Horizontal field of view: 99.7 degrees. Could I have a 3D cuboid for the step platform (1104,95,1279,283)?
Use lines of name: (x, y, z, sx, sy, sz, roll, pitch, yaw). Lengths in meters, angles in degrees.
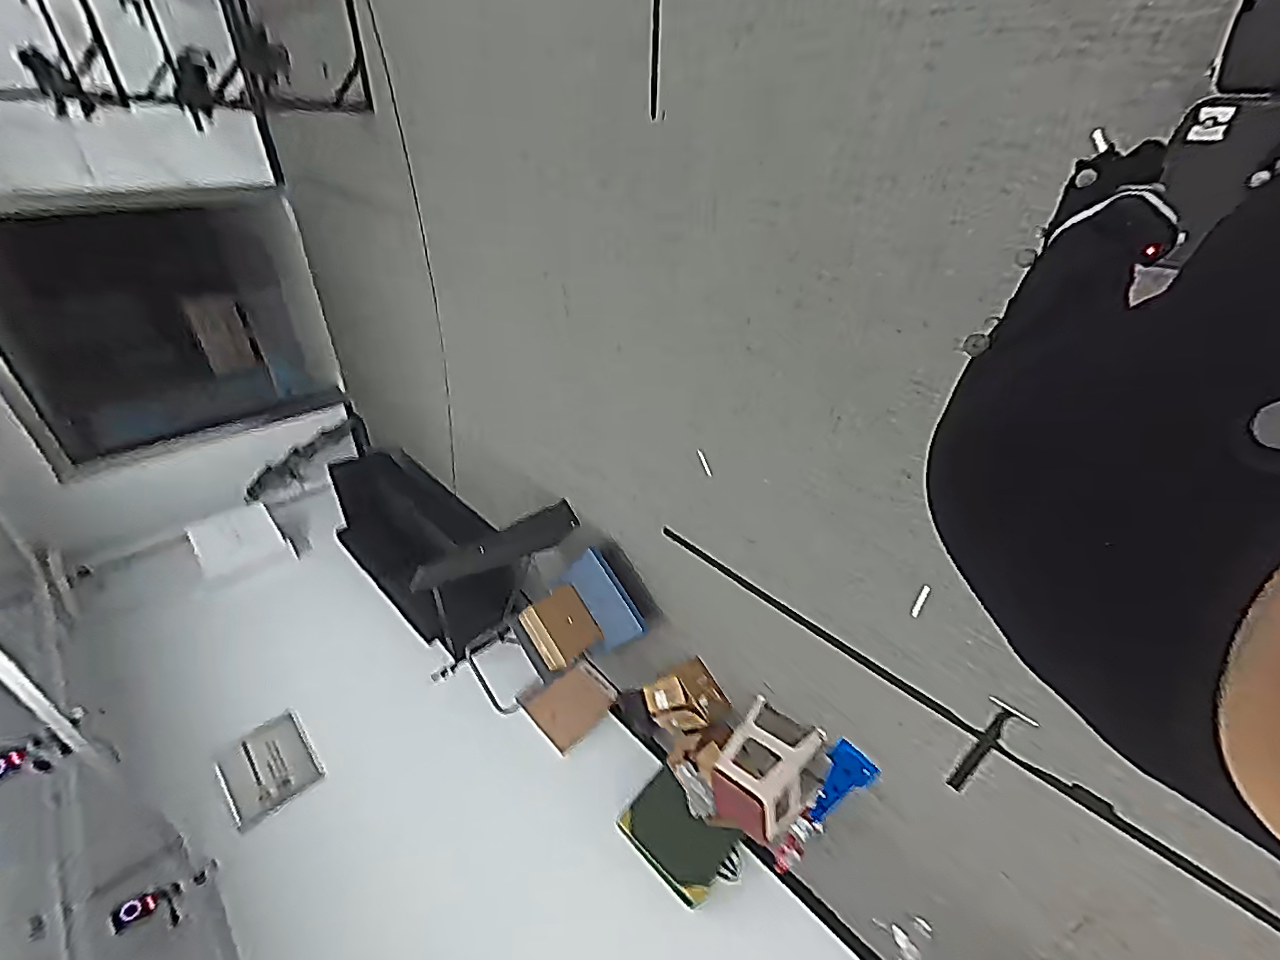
step platform: (1.230, -0.473, 0.902, 0.684, 0.204, 0.286, 30, 133, 37)
